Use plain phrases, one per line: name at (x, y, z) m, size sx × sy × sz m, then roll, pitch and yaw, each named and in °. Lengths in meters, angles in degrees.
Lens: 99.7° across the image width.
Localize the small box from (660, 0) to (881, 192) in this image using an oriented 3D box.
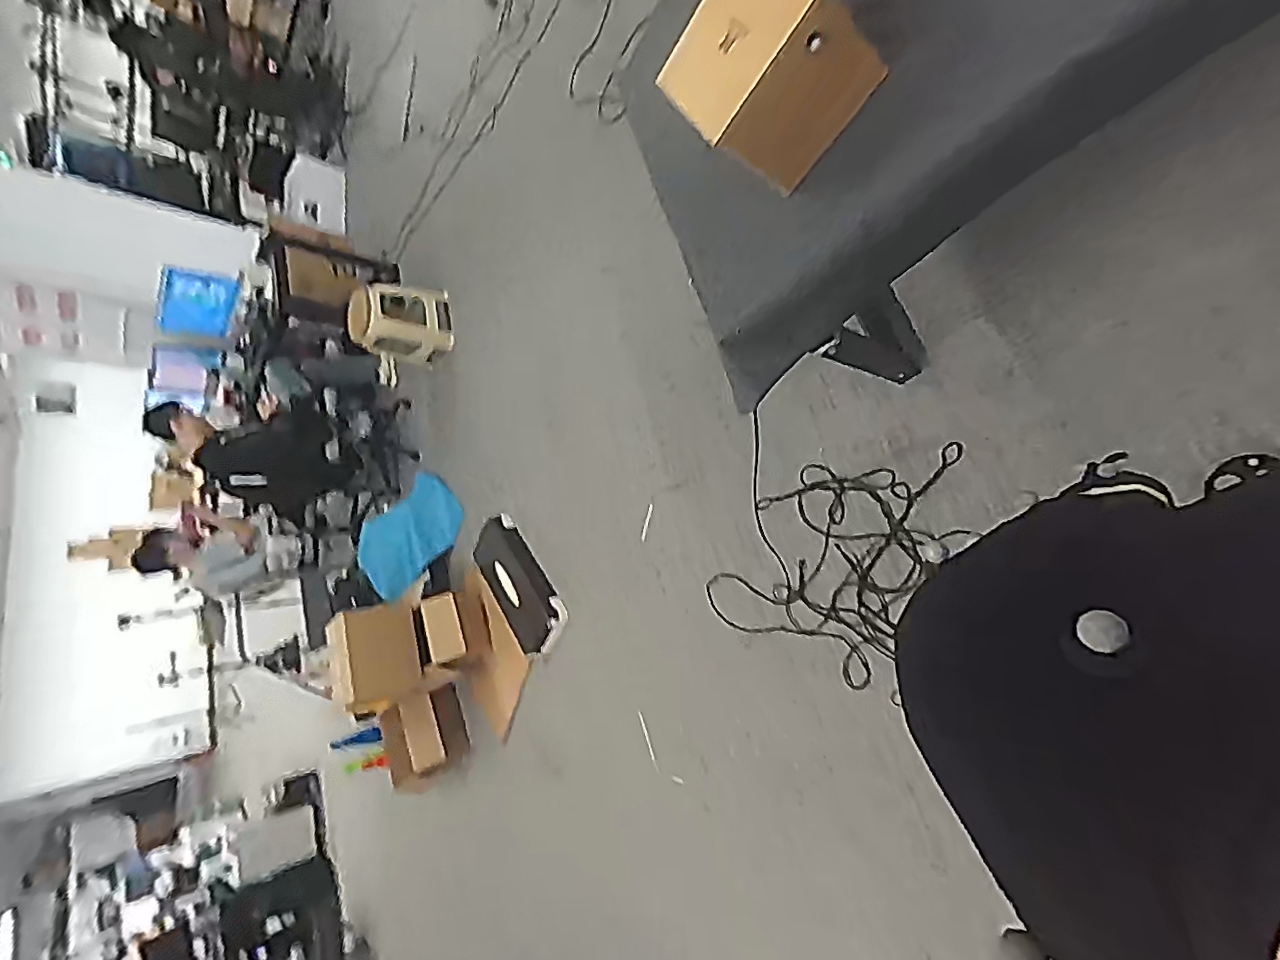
small box at (0.164, -0.508, 0.684) m, size 0.179 × 0.176 × 0.168 m, roll -47°, pitch 57°, yaw 33°
